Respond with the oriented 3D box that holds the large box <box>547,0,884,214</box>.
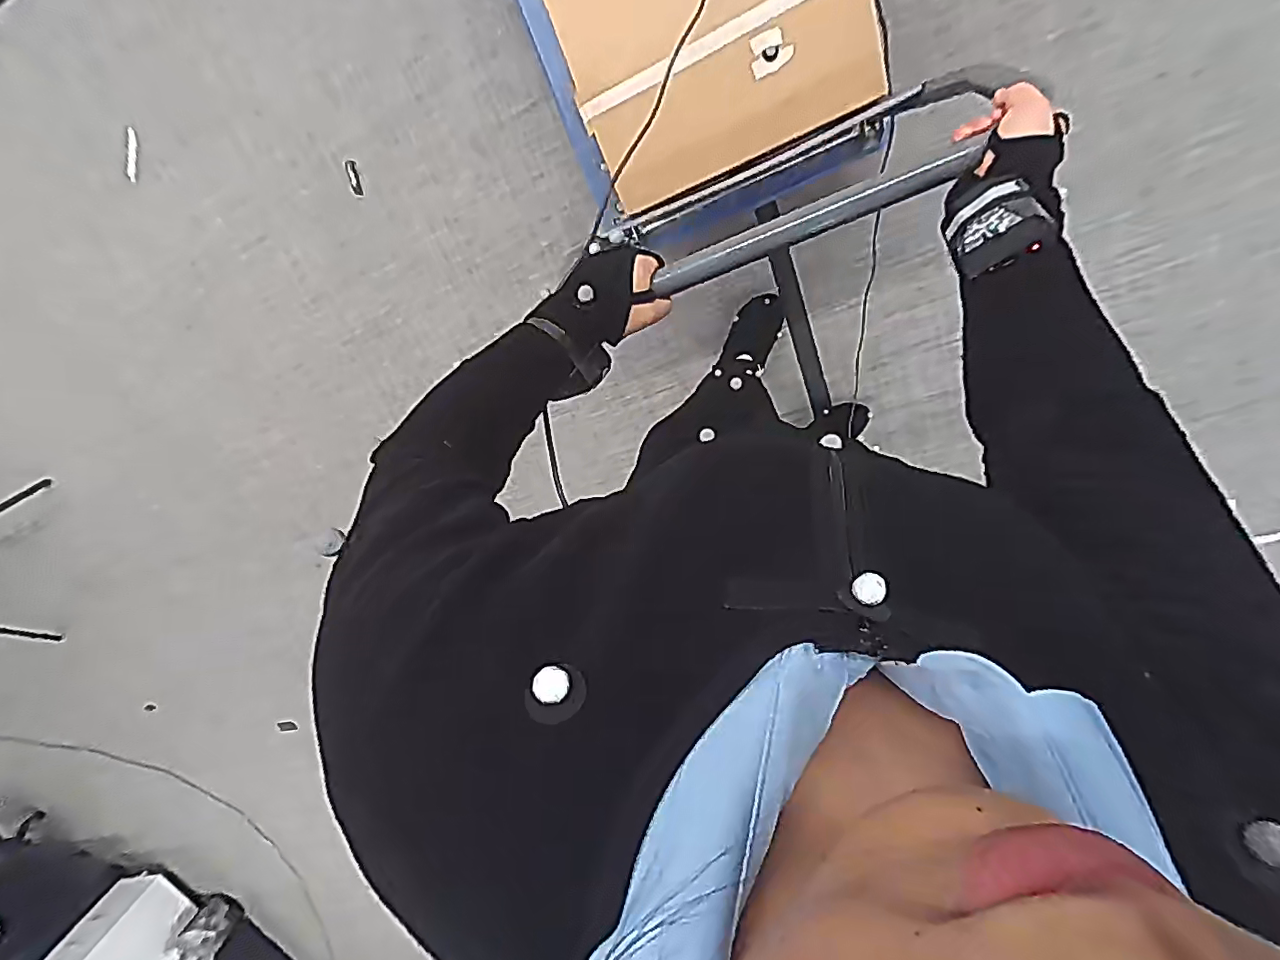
[{"bbox_3d":[0.124,-0.681,0.891,0.408,0.320,0.320,-18,113,17],"label":"large box"}]
